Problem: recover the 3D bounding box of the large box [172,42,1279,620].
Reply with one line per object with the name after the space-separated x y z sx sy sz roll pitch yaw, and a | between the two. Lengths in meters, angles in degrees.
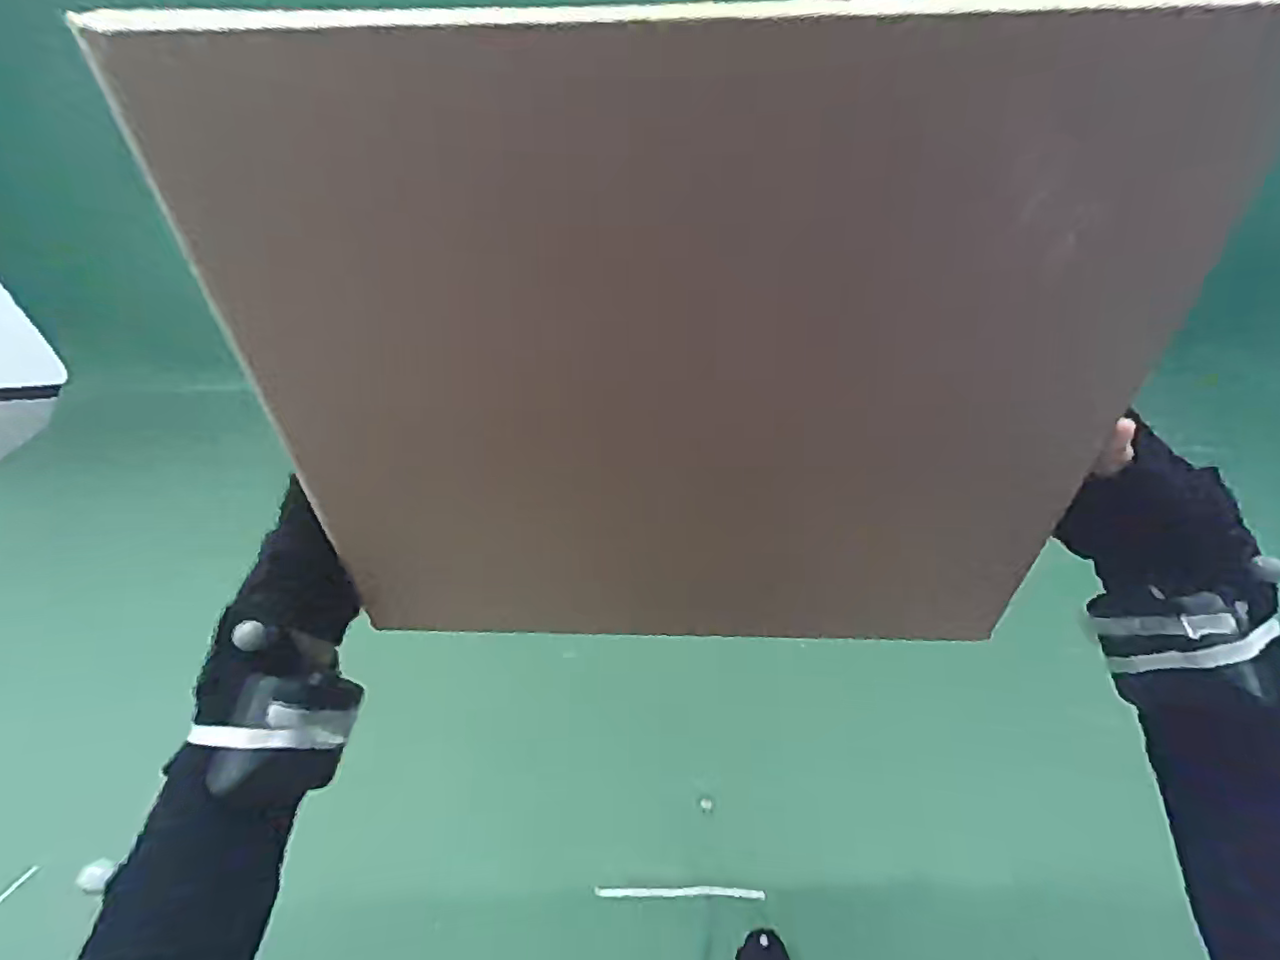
0.031 -0.114 0.395 0.408 0.320 0.320 1 38 1 | large box
